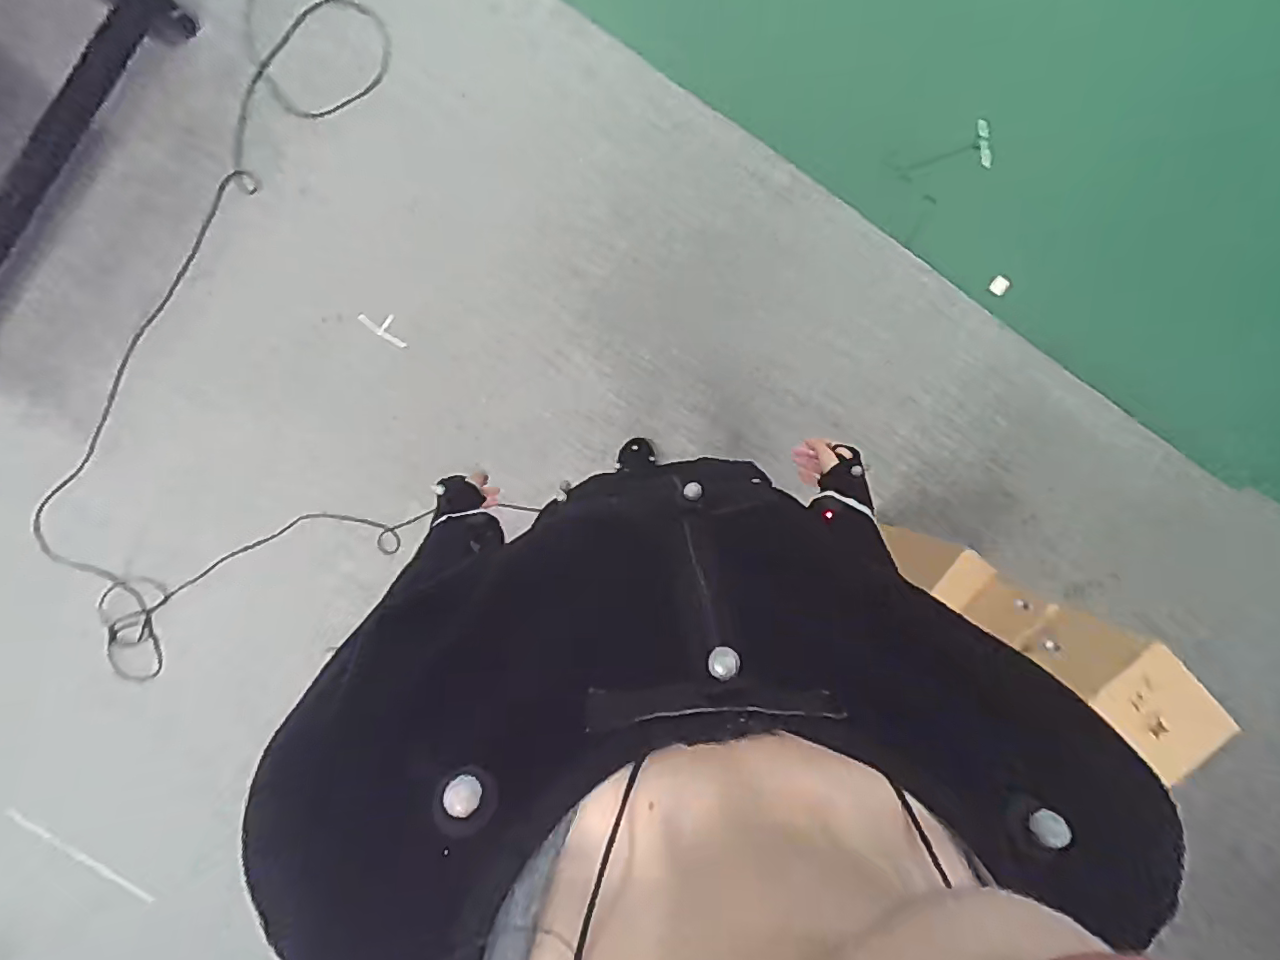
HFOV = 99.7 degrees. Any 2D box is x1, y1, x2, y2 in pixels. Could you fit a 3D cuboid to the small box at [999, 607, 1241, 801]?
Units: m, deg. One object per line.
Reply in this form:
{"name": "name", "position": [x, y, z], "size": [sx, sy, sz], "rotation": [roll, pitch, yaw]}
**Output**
{"name": "small box", "position": [0.706, 0.324, 0.819], "size": [0.168, 0.176, 0.179], "rotation": [-44, 93, 4]}
